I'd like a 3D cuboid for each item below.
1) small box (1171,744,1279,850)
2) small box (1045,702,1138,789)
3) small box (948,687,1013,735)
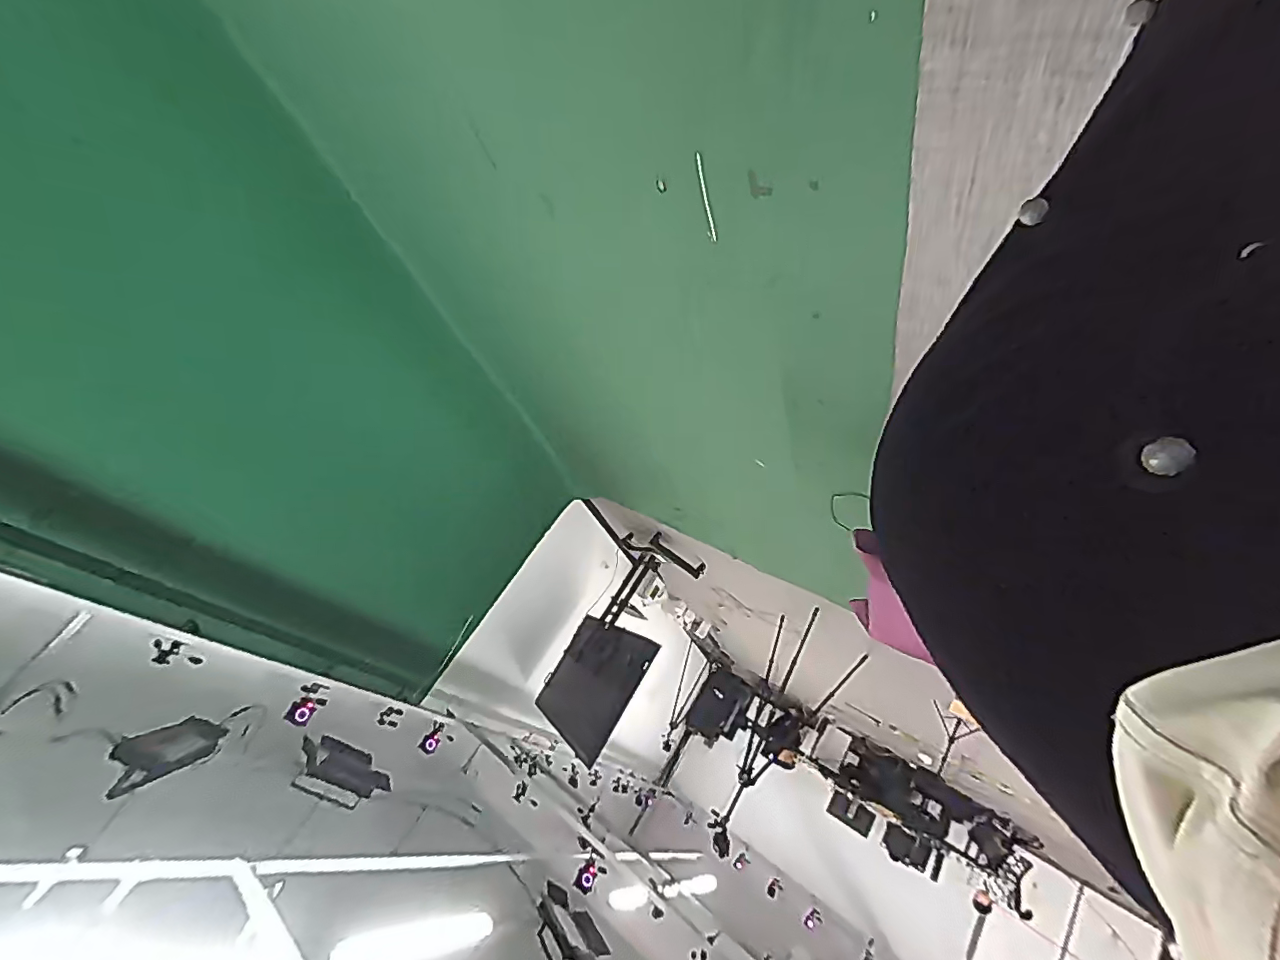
[{"bbox_3d":[1.531,0.812,1.392,0.168,0.176,0.179,23,158,32],"label":"small box"},{"bbox_3d":[1.367,0.801,1.638,0.168,0.176,0.179,22,158,34],"label":"small box"},{"bbox_3d":[1.146,0.709,1.792,0.168,0.176,0.179,20,155,34],"label":"small box"}]
